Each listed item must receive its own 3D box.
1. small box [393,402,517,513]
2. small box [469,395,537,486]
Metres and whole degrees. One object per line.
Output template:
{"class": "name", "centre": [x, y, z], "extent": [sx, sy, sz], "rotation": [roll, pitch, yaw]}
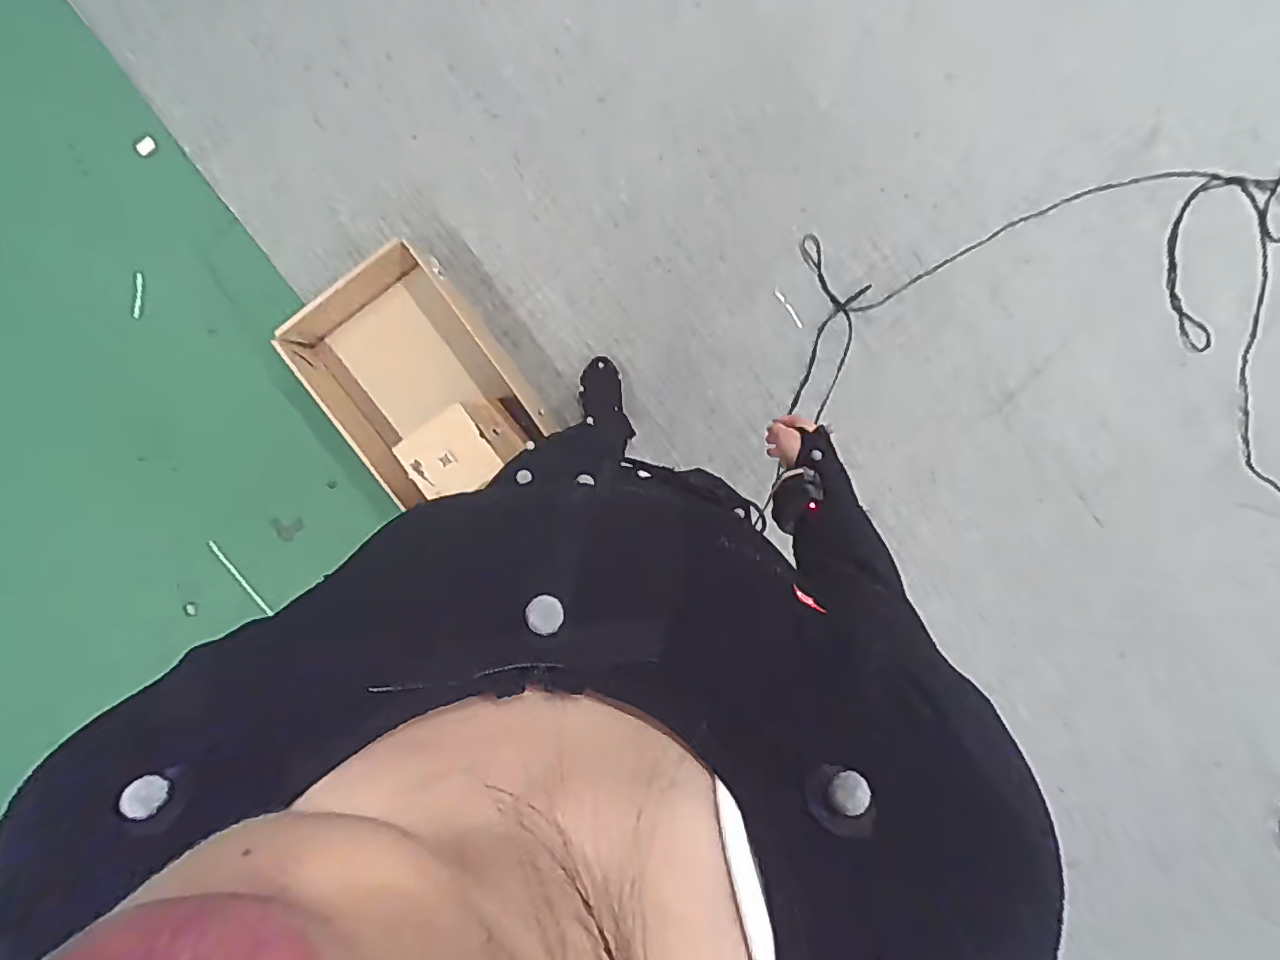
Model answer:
{"class": "small box", "centre": [-0.382, -0.054, 1.165], "extent": [0.179, 0.176, 0.168], "rotation": [-34, 96, 3]}
{"class": "small box", "centre": [-0.377, -0.088, 1.325], "extent": [0.179, 0.176, 0.168], "rotation": [-39, 95, 4]}
